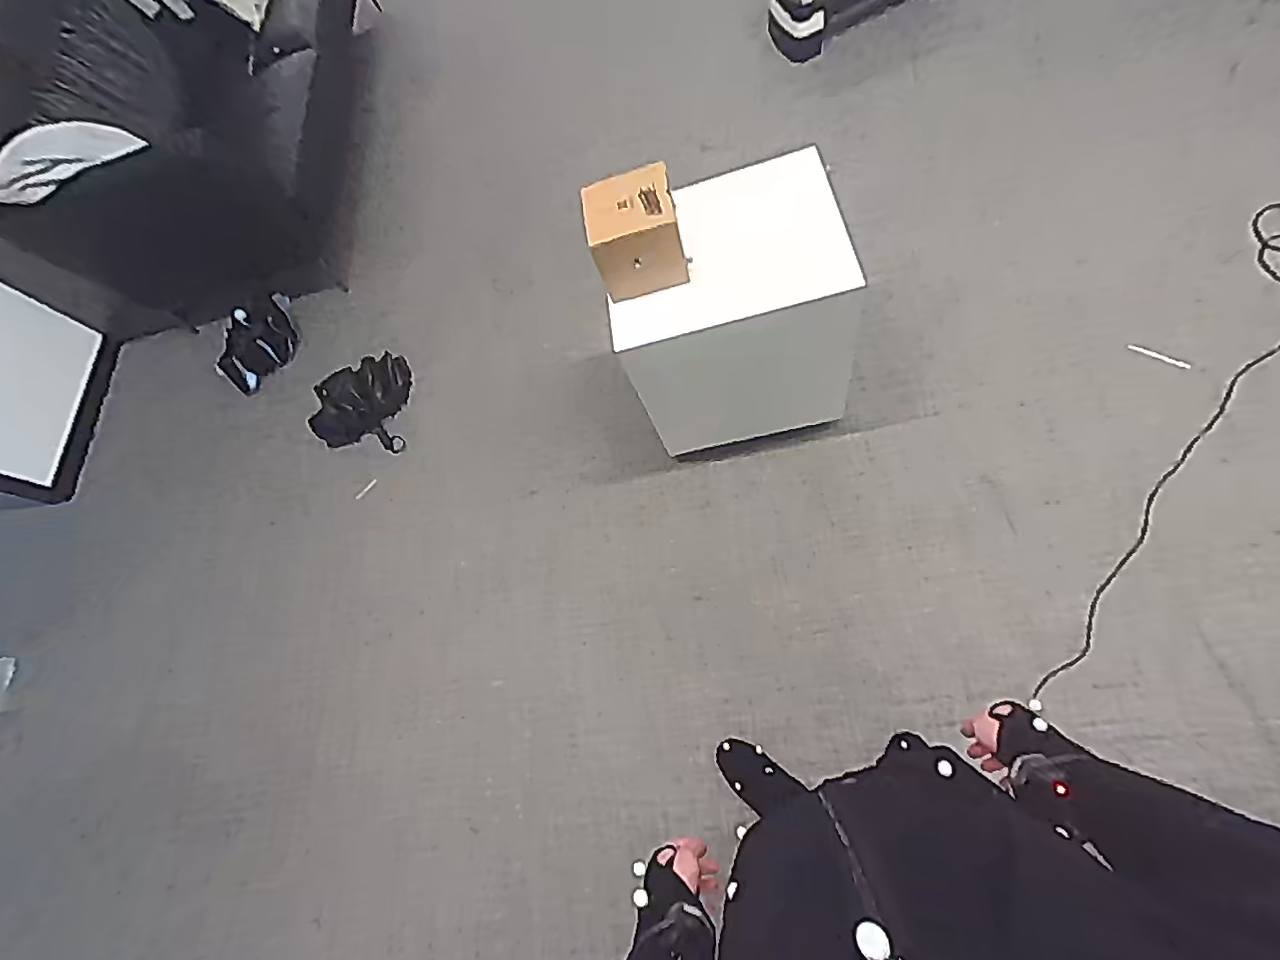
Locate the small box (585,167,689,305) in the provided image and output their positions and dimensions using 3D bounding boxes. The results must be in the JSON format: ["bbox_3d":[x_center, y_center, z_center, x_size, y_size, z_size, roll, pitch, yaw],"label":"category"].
[{"bbox_3d":[0.001,-0.495,1.116,0.179,0.176,0.168,-12,66,11],"label":"small box"}]
